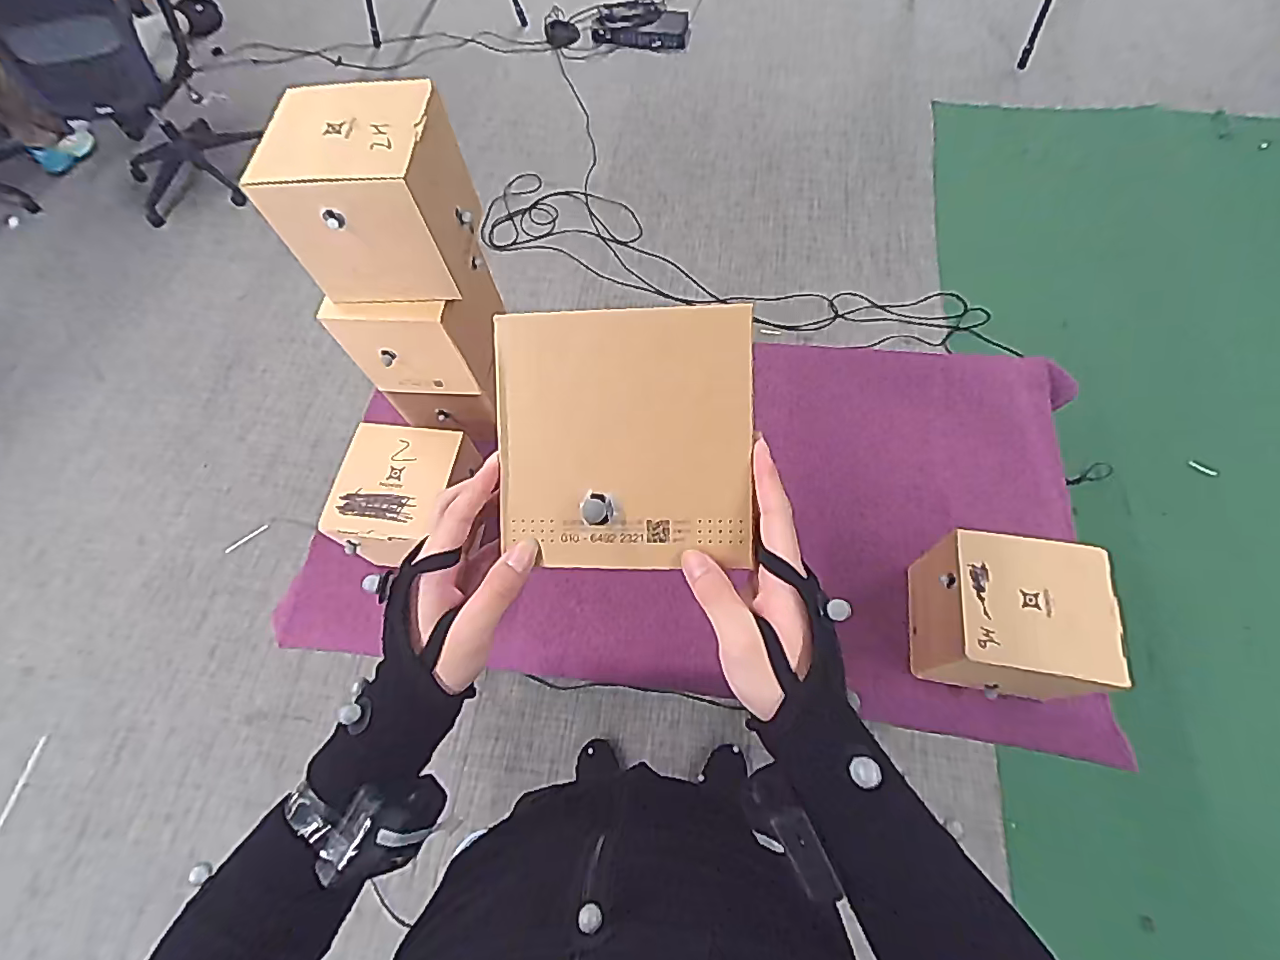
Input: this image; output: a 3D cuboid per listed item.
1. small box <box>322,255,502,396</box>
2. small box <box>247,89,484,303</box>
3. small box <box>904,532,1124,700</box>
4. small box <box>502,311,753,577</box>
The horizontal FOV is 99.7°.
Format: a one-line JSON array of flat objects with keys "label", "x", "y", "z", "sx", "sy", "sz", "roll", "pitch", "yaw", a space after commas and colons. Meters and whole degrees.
[{"label": "small box", "x": -0.314, "y": -0.239, "z": 0.790, "sx": 0.168, "sy": 0.176, "sz": 0.179, "roll": 3, "pitch": 64, "yaw": 5}, {"label": "small box", "x": -0.309, "y": -0.331, "z": 0.651, "sx": 0.179, "sy": 0.176, "sz": 0.168, "roll": 0, "pitch": 65, "yaw": 3}, {"label": "small box", "x": 0.473, "y": 0.187, "z": 0.717, "sx": 0.179, "sy": 0.176, "sz": 0.168, "roll": 8, "pitch": 63, "yaw": 8}, {"label": "small box", "x": -0.002, "y": -0.025, "z": 0.429, "sx": 0.168, "sy": 0.179, "sz": 0.176, "roll": -1, "pitch": 93, "yaw": 6}]
